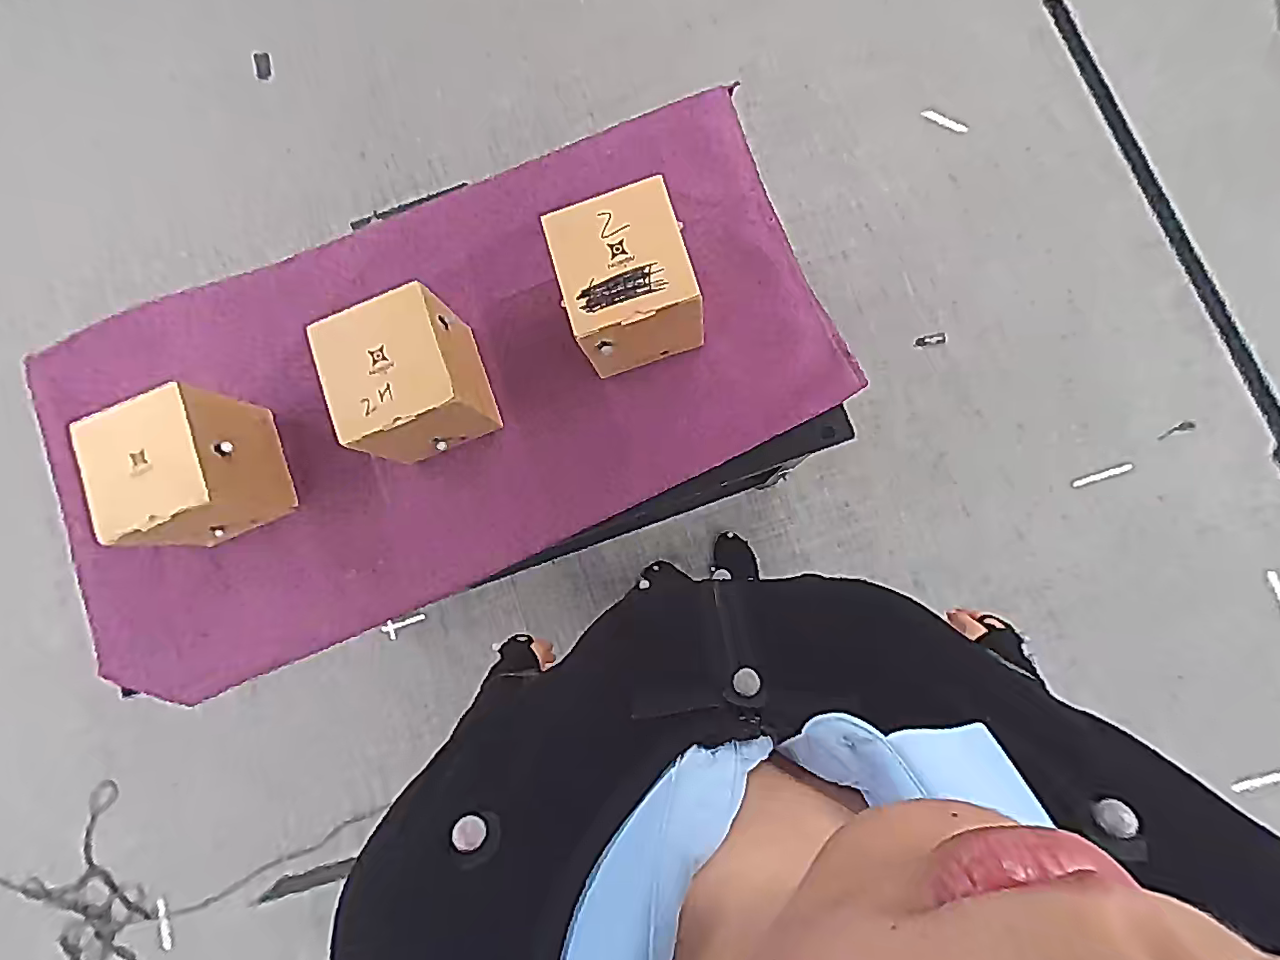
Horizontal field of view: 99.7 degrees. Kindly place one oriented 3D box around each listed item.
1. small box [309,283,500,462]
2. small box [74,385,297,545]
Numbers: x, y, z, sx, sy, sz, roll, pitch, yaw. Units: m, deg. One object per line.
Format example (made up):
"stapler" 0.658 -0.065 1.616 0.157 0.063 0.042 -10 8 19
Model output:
"small box" -0.324 -0.141 0.774 0.168 0.176 0.179 -21 82 4
"small box" -0.653 -0.012 0.796 0.168 0.176 0.179 -22 83 2
